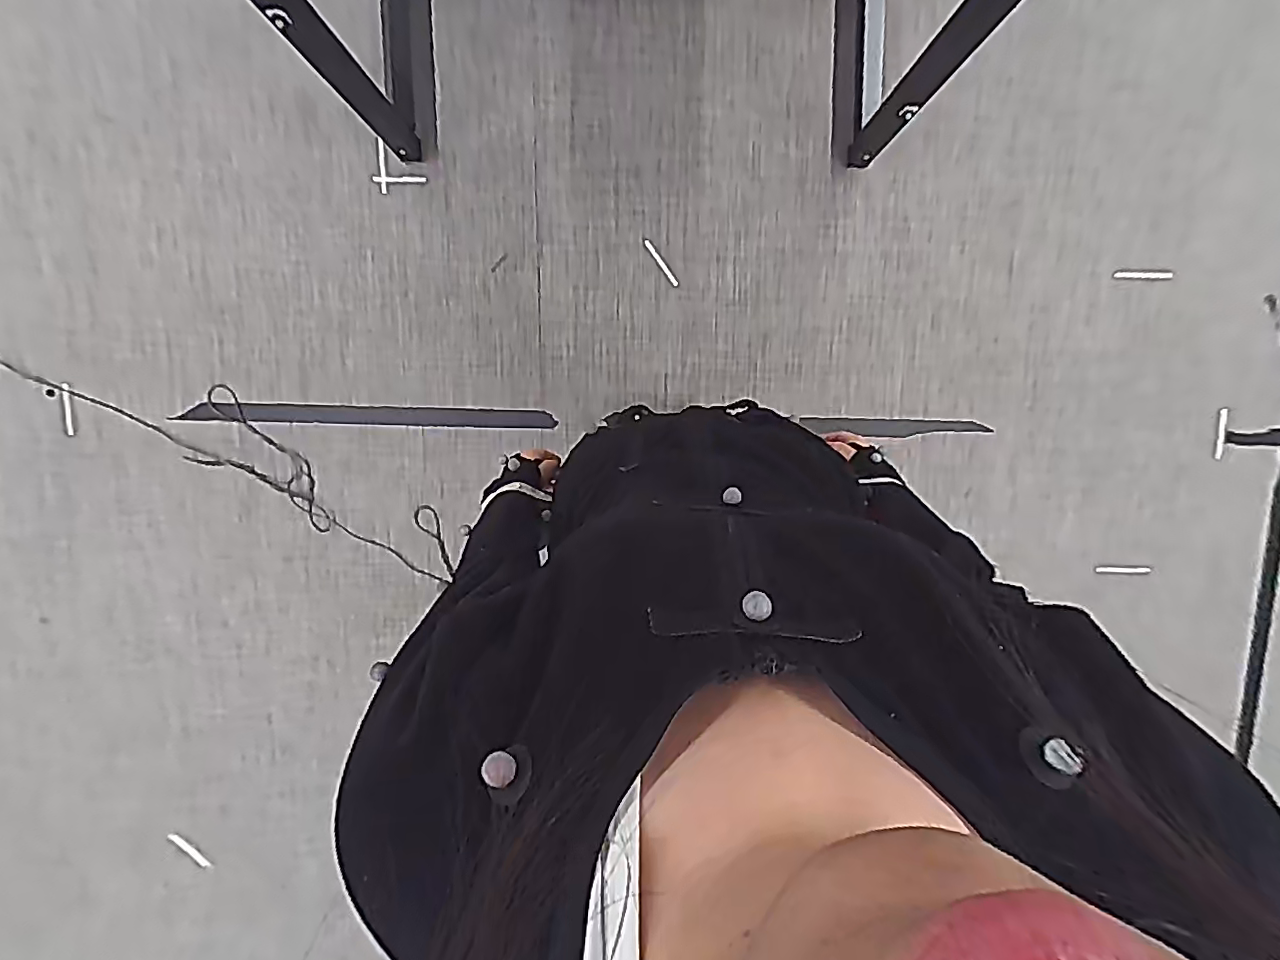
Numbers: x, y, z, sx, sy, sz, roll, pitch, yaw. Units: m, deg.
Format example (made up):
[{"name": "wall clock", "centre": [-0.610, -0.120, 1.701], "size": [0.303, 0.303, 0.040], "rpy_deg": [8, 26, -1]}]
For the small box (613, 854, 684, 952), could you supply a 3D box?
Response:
[{"name": "small box", "centre": [0.020, 1.211, 1.545], "size": [0.168, 0.176, 0.179], "rpy_deg": [-13, 97, 1]}]

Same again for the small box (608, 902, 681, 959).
[{"name": "small box", "centre": [0.017, 1.239, 1.382], "size": [0.168, 0.176, 0.179], "rpy_deg": [-13, 97, -1]}]
